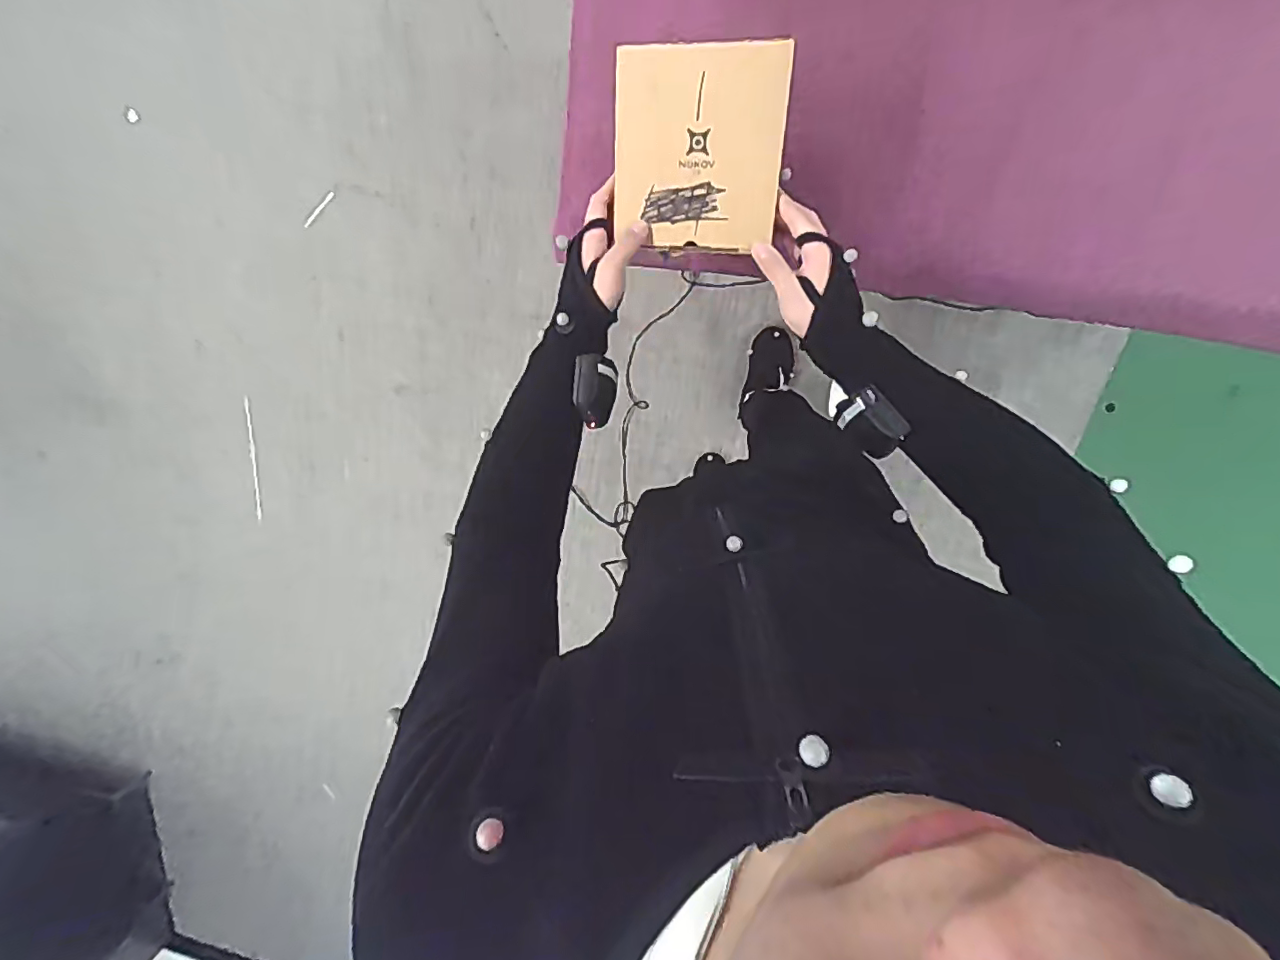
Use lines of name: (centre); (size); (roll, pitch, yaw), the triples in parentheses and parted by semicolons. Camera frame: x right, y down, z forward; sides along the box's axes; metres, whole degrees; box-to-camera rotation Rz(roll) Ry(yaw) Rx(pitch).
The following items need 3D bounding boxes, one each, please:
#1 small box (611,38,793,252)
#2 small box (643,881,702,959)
small box: (0.069, -0.349, 0.594); (0.168, 0.176, 0.179); (7, 112, 9)
small box: (0.116, 1.531, 1.851); (0.168, 0.176, 0.179); (11, 111, 6)
